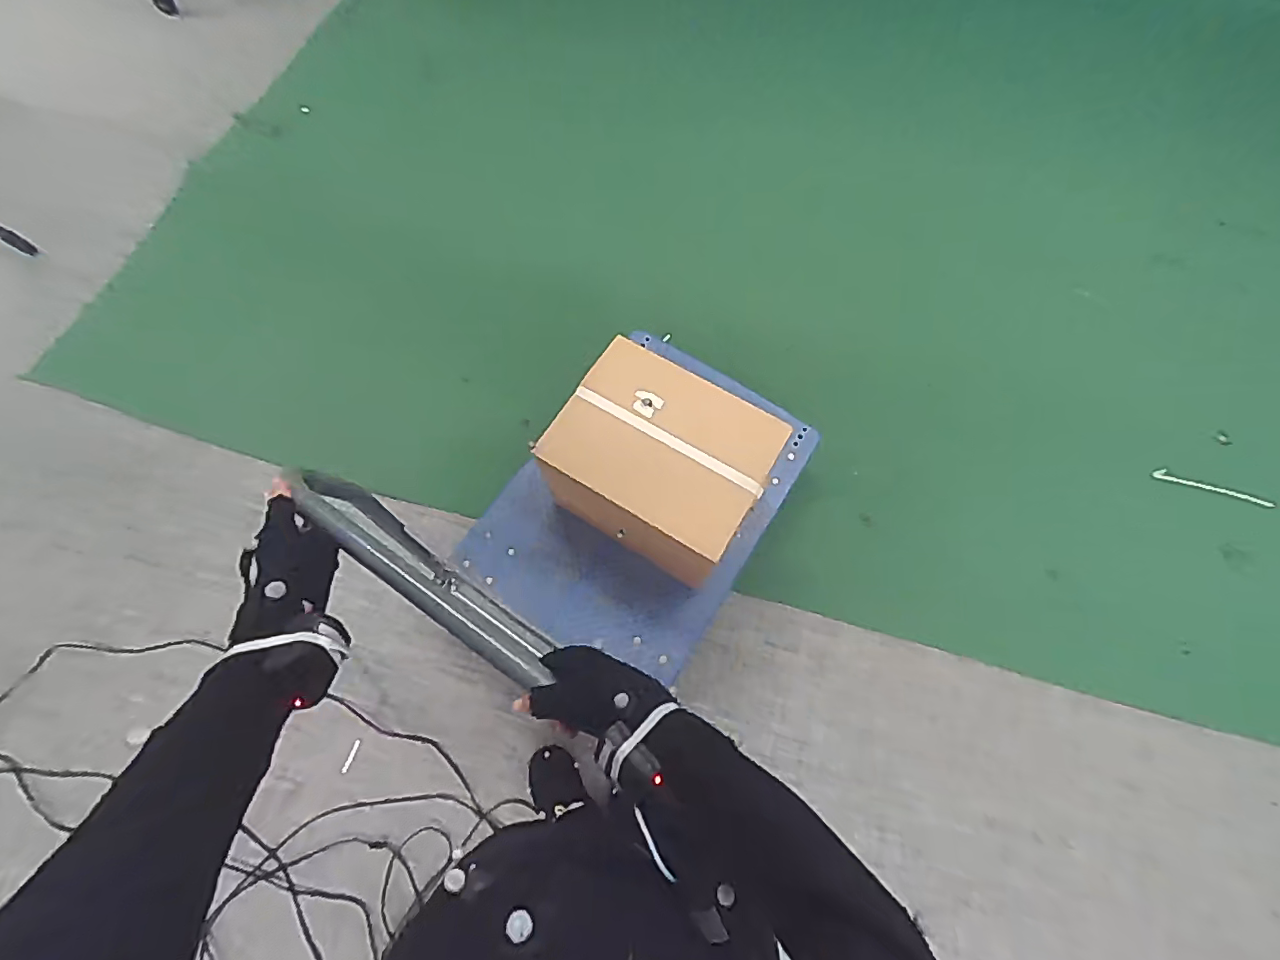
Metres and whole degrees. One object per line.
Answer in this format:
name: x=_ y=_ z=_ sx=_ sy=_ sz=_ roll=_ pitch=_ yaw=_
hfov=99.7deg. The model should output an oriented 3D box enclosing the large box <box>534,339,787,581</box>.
large box: x=0.045 y=-0.027 z=1.181 sx=0.408 sy=0.320 sz=0.320 roll=30 pitch=72 yaw=11
